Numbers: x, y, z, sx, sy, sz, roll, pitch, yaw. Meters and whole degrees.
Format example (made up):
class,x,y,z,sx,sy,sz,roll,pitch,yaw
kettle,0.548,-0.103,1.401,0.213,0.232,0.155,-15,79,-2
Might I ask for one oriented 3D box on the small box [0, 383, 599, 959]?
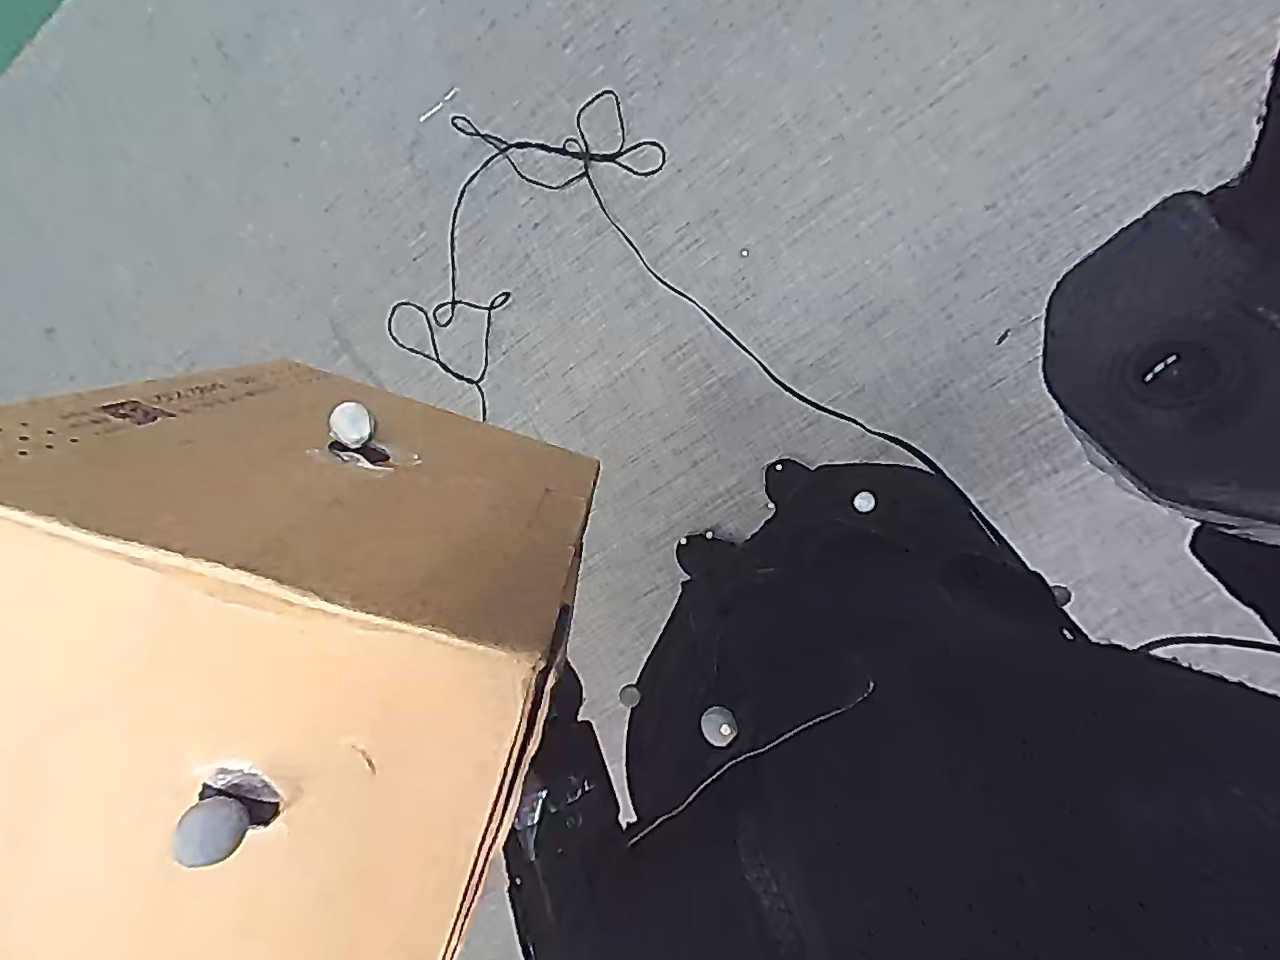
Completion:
class,x,y,z,sx,sy,sz,roll,pitch,yaw
small box,-0.126,0.067,0.233,0.176,0.168,0.179,18,108,-5
